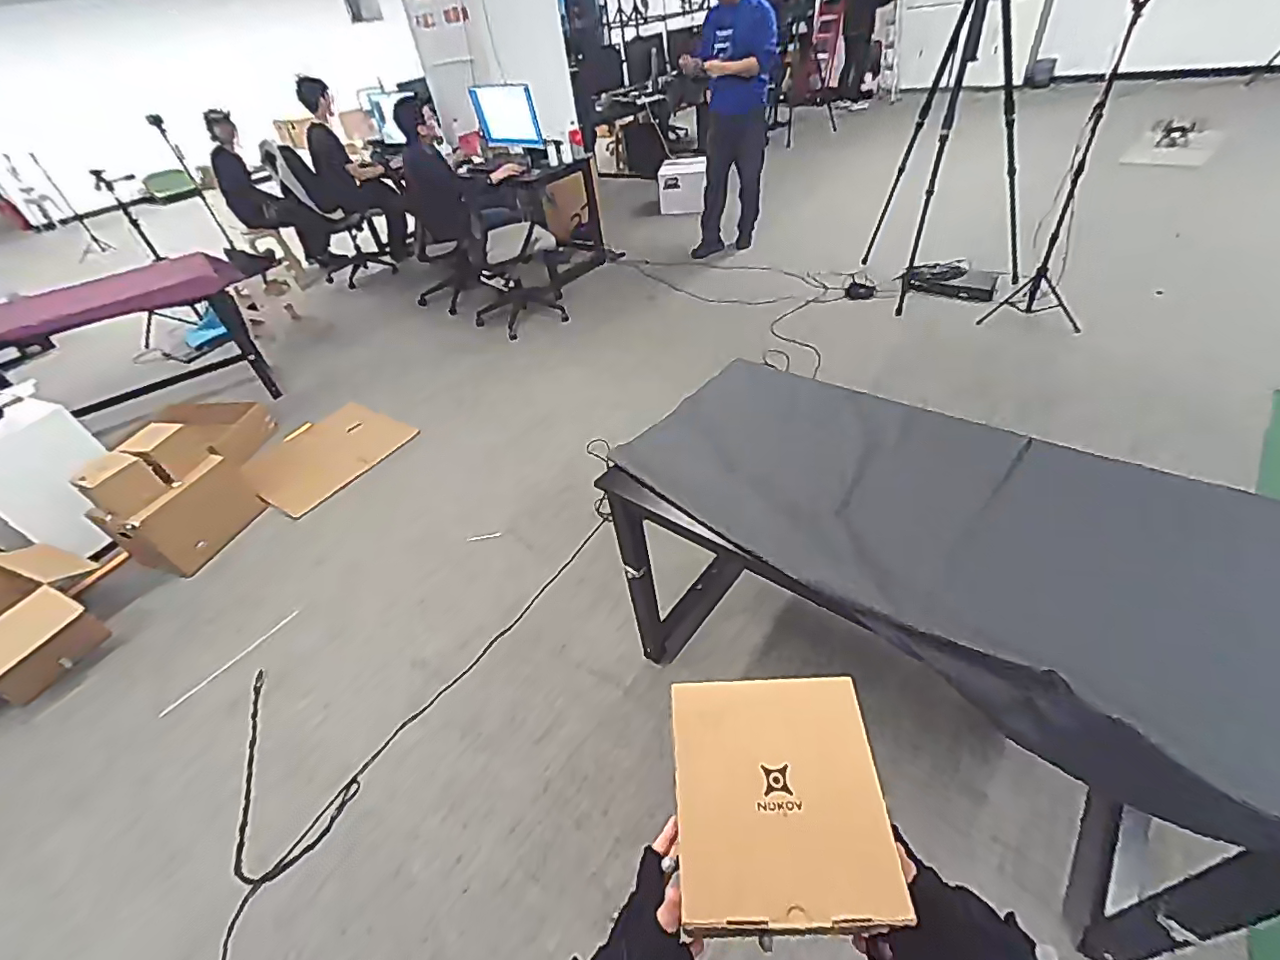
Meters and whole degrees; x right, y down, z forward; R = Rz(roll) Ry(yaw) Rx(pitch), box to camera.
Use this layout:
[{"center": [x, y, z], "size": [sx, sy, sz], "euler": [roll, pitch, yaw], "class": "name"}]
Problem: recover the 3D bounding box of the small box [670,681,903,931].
[{"center": [0.113, 0.307, 0.507], "size": [0.168, 0.176, 0.179], "euler": [-2, 50, 2], "class": "small box"}]
